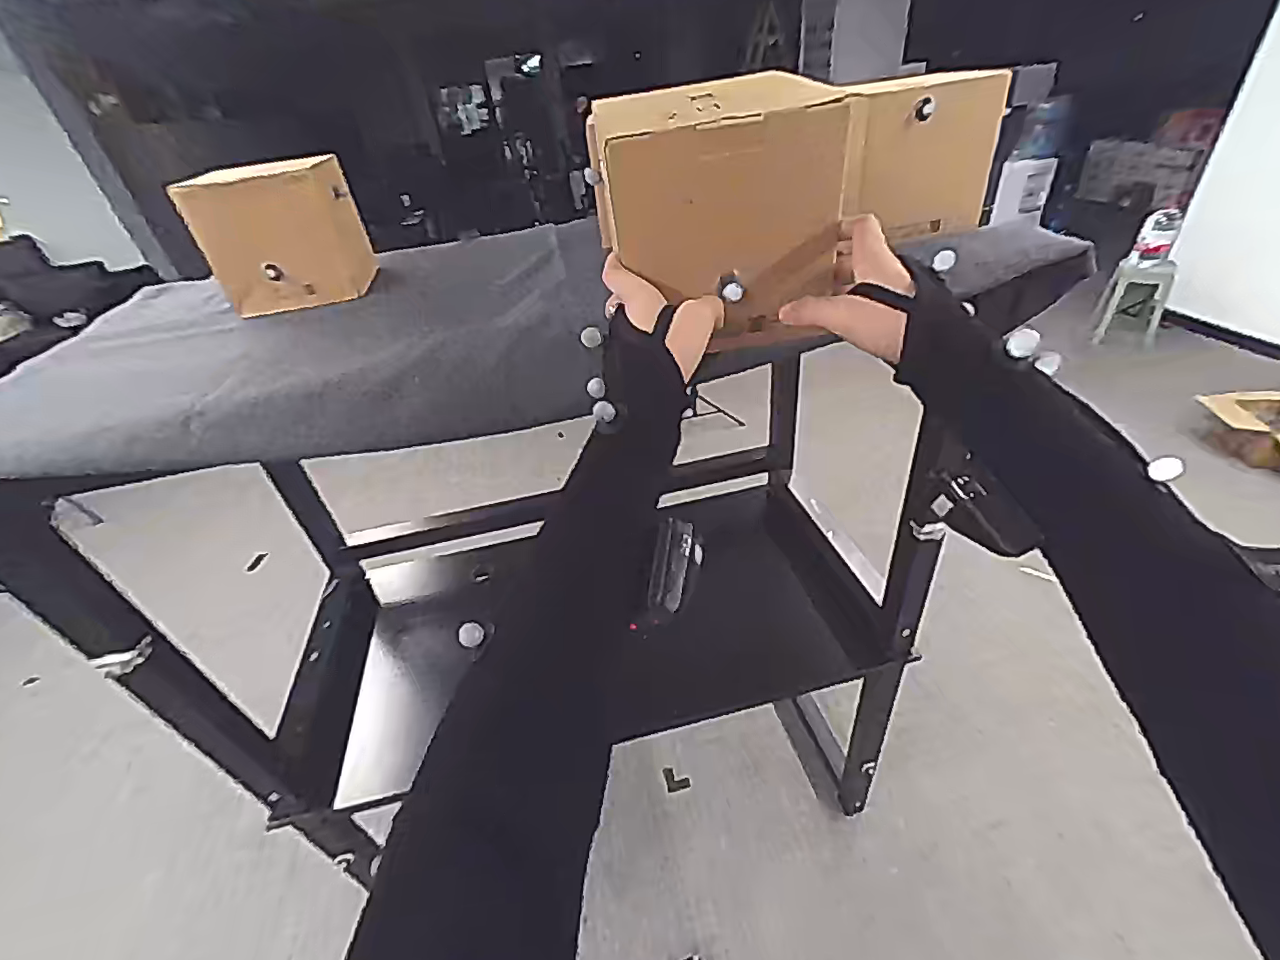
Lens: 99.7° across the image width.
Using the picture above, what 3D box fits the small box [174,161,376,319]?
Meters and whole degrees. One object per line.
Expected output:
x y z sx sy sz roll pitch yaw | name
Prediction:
-0.505 -0.350 0.785 0.168 0.176 0.179 -14 38 -7 | small box

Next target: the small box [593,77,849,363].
0.055 -0.221 0.459 0.168 0.176 0.179 -10 42 1 | small box

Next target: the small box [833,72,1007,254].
0.310 -0.397 0.686 0.168 0.176 0.179 -12 35 -4 | small box
